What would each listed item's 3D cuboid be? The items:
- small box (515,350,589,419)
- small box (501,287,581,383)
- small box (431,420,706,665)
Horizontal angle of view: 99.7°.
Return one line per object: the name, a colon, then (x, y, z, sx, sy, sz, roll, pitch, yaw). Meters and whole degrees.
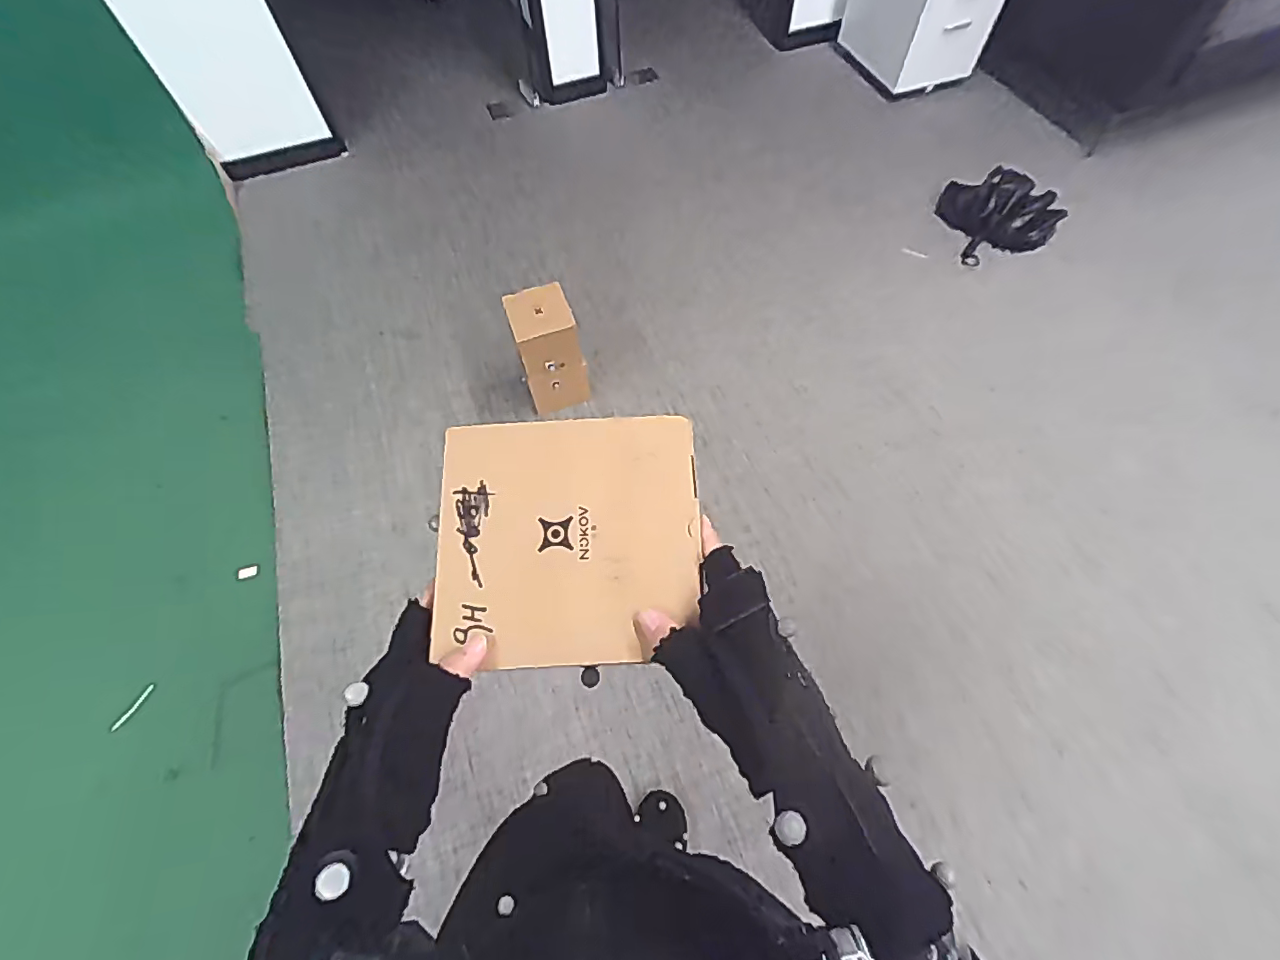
small box: (-0.270, -0.315, 1.679, 0.179, 0.176, 0.168, -18, 64, -9)
small box: (-0.275, -0.405, 1.526, 0.168, 0.176, 0.179, -20, 65, -8)
small box: (-0.049, 0.061, 0.441, 0.179, 0.176, 0.168, -2, 71, -2)
